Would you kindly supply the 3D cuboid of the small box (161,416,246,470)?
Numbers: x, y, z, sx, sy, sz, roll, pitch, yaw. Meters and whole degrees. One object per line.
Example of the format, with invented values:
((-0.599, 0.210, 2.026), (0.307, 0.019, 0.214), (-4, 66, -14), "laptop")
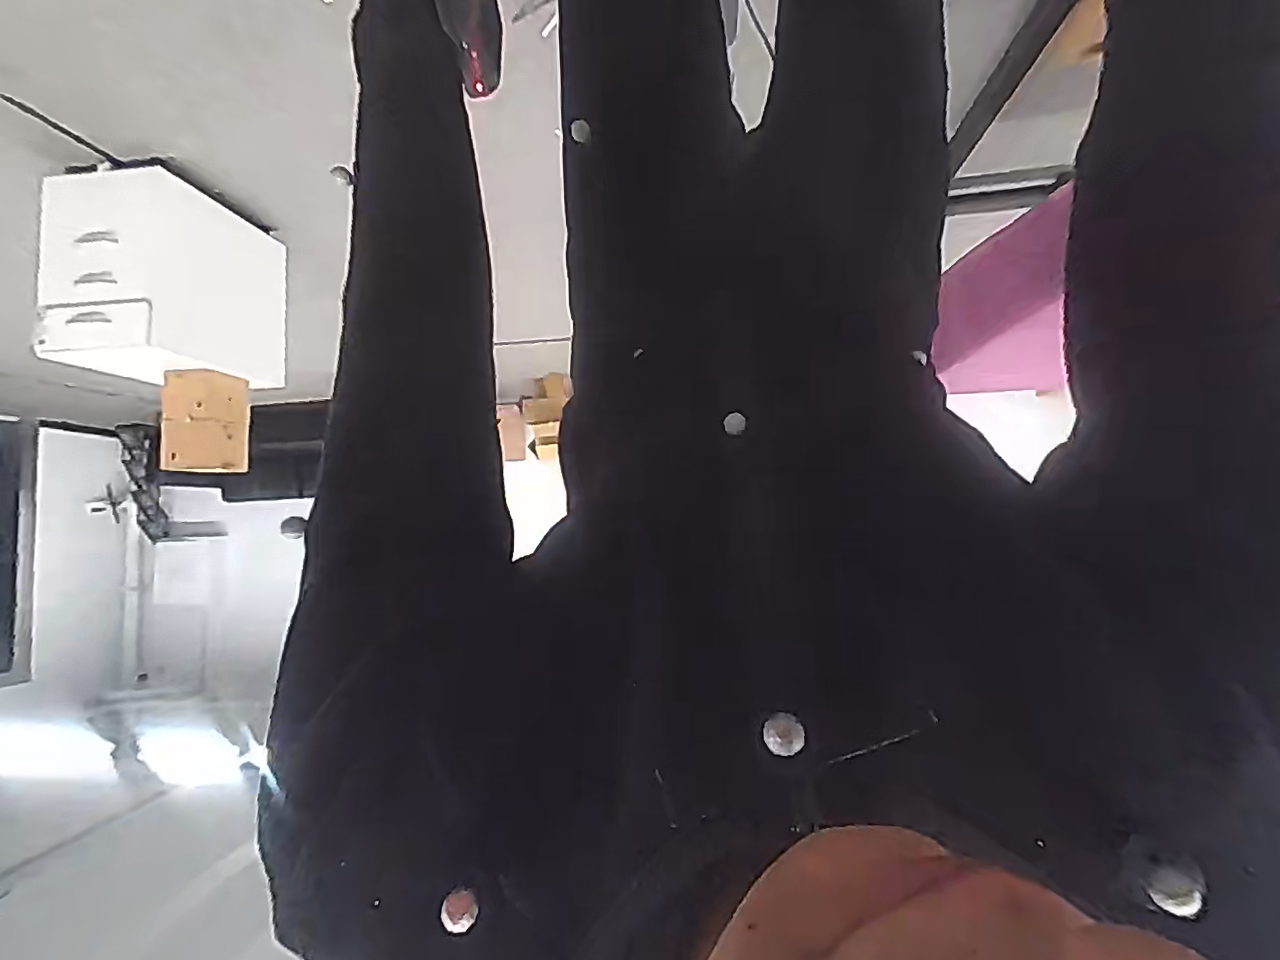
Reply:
((-1.506, -0.125, 1.877), (0.179, 0.176, 0.168), (-1, 178, 4), "small box")
